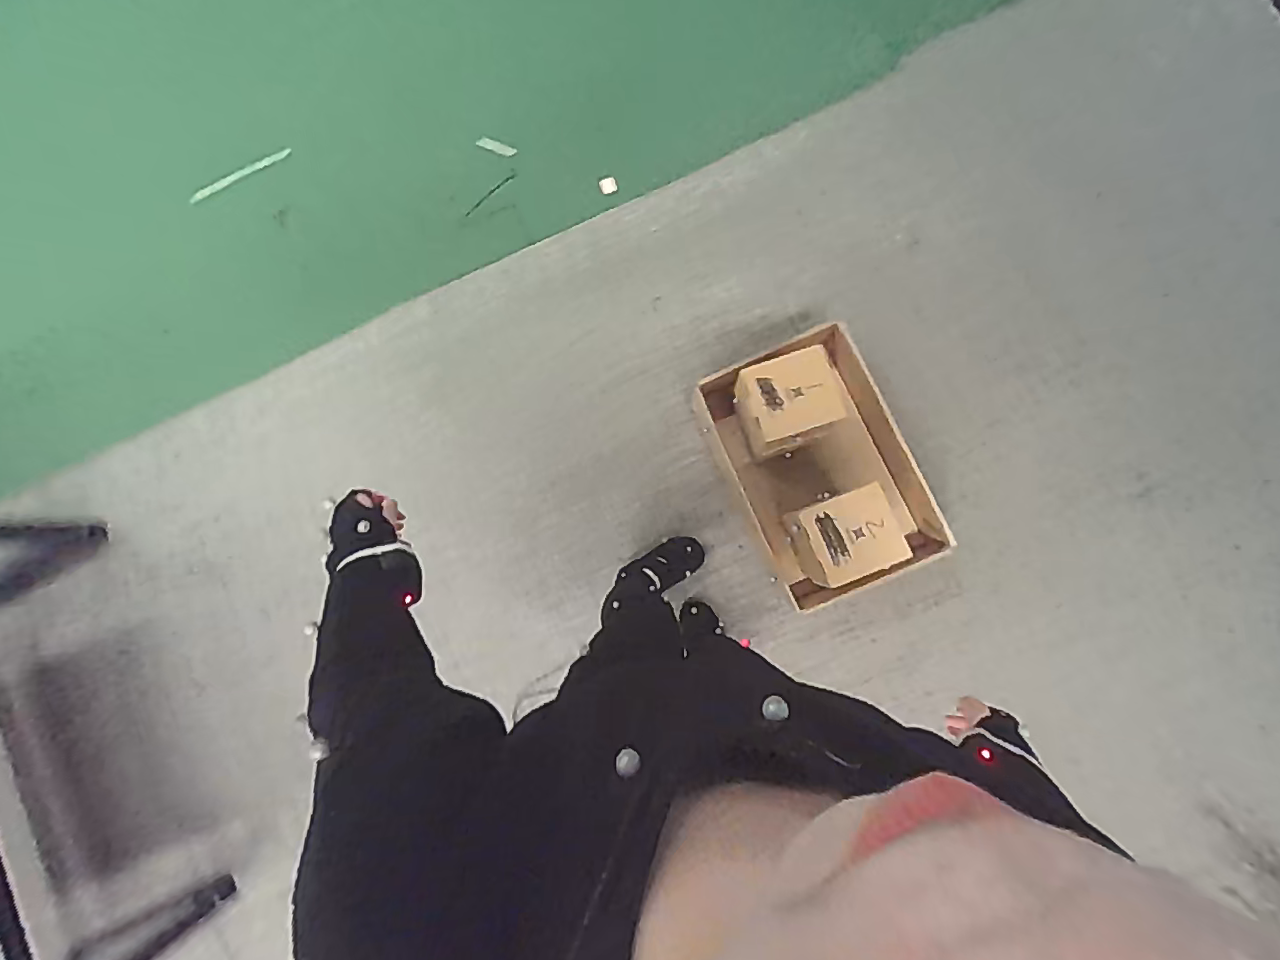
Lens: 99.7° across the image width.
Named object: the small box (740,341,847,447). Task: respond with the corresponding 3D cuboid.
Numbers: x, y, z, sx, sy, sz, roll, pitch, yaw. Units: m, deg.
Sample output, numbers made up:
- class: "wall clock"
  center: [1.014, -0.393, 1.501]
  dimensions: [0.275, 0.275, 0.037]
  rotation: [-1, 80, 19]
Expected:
- class: "small box"
  center: [0.327, -0.181, 1.195]
  dimensions: [0.179, 0.176, 0.168]
  rotation: [-17, 84, 3]
